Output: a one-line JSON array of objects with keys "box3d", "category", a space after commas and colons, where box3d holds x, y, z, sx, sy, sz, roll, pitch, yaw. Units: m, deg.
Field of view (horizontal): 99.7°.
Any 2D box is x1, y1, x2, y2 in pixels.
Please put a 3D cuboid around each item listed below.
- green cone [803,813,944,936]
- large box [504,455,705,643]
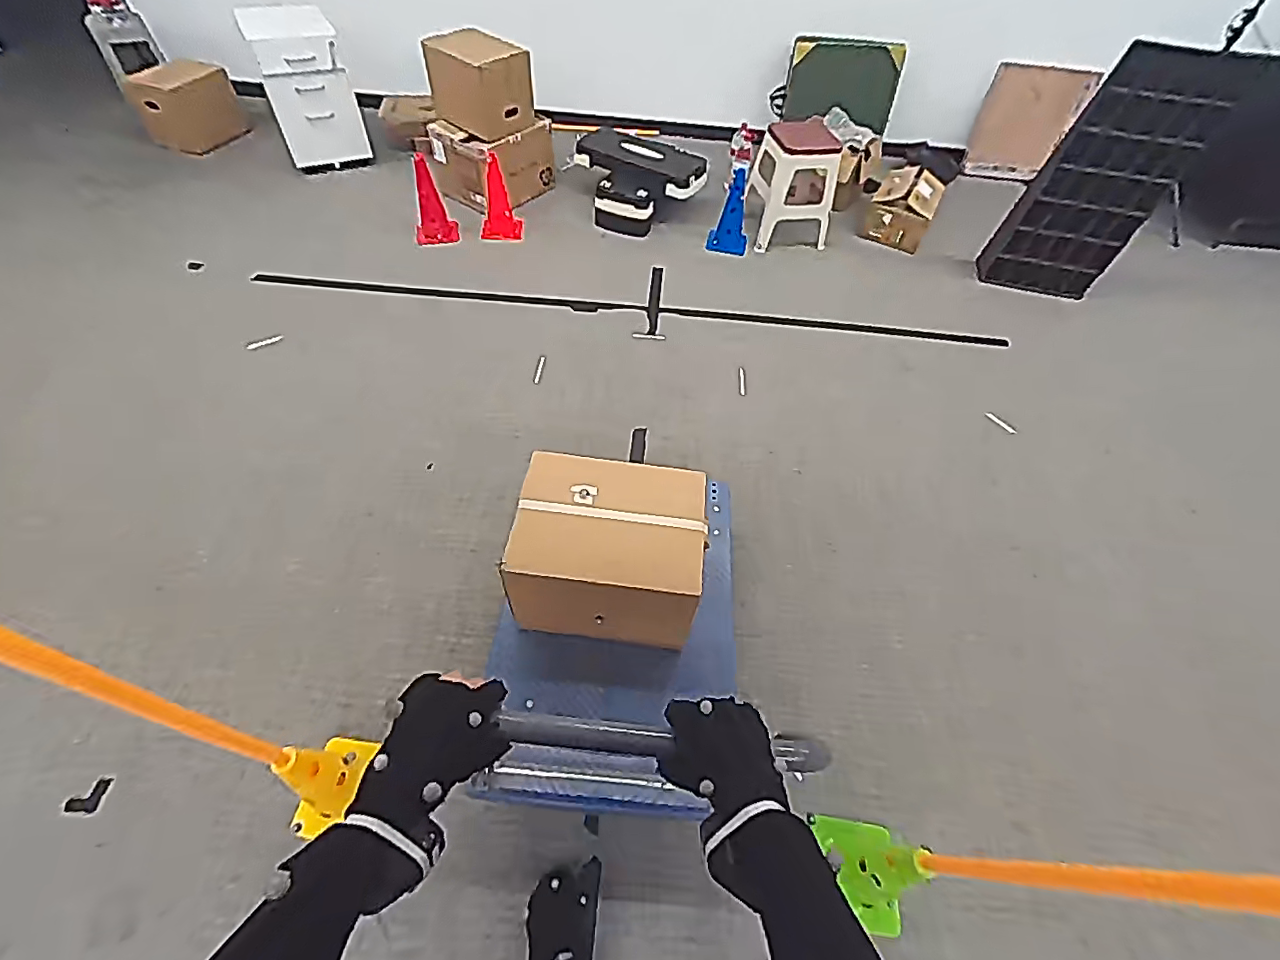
[{"box3d": [0.477, 0.763, 1.059, 0.202, 0.368, 0.200, 10, 53, 1], "category": "green cone"}, {"box3d": [-0.068, 0.171, 1.283, 0.408, 0.320, 0.320, 7, 53, 2], "category": "large box"}]
